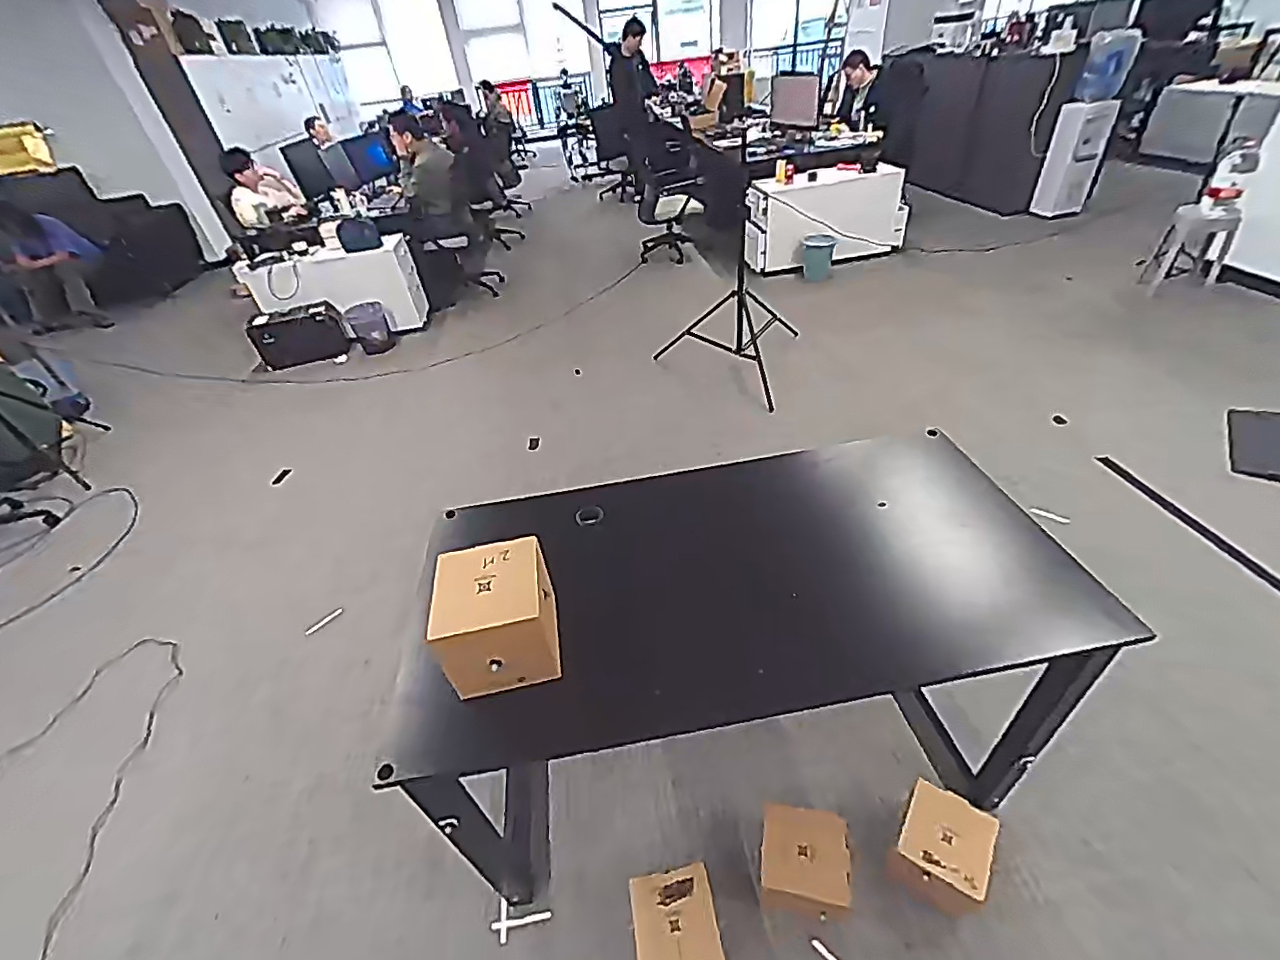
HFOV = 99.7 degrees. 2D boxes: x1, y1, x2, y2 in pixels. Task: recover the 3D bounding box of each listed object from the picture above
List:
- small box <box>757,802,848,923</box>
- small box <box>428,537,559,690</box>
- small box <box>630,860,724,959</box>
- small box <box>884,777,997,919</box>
[{"bbox_3d":[0.356,0.850,1.201,0.179,0.176,0.168,3,40,14],"label":"small box"},{"bbox_3d":[-0.234,0.226,0.898,0.168,0.176,0.179,-11,39,-5],"label":"small box"},{"bbox_3d":[0.076,0.940,1.135,0.168,0.176,0.179,-10,41,-3],"label":"small box"},{"bbox_3d":[0.656,0.810,1.195,0.168,0.176,0.179,20,47,30],"label":"small box"}]
